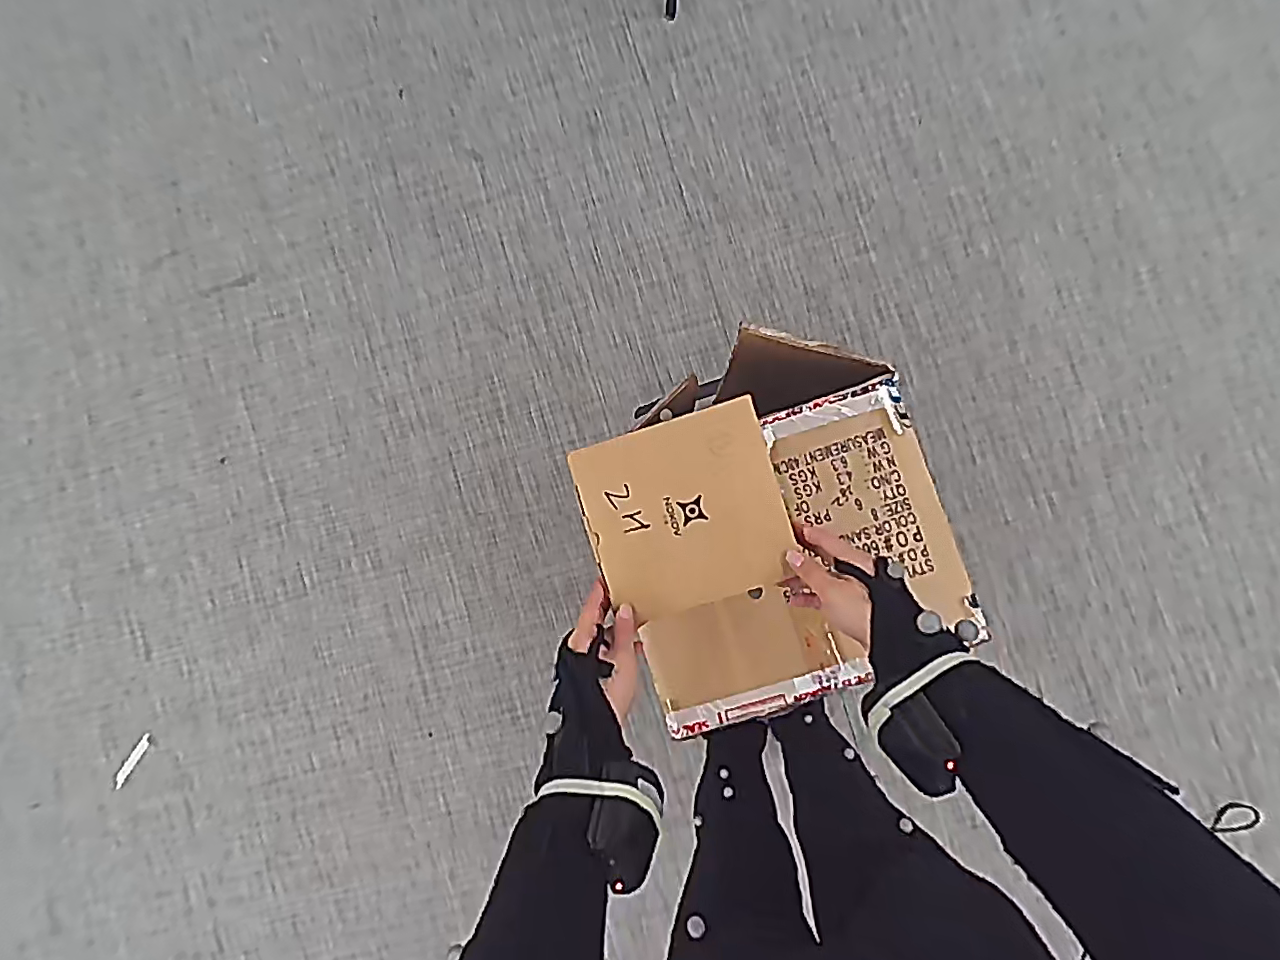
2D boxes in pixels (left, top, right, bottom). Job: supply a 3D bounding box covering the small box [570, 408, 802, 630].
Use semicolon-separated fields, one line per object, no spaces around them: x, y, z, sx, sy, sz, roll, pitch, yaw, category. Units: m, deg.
0.046;0.036;0.564;0.179;0.176;0.168;-17;87;6;small box
